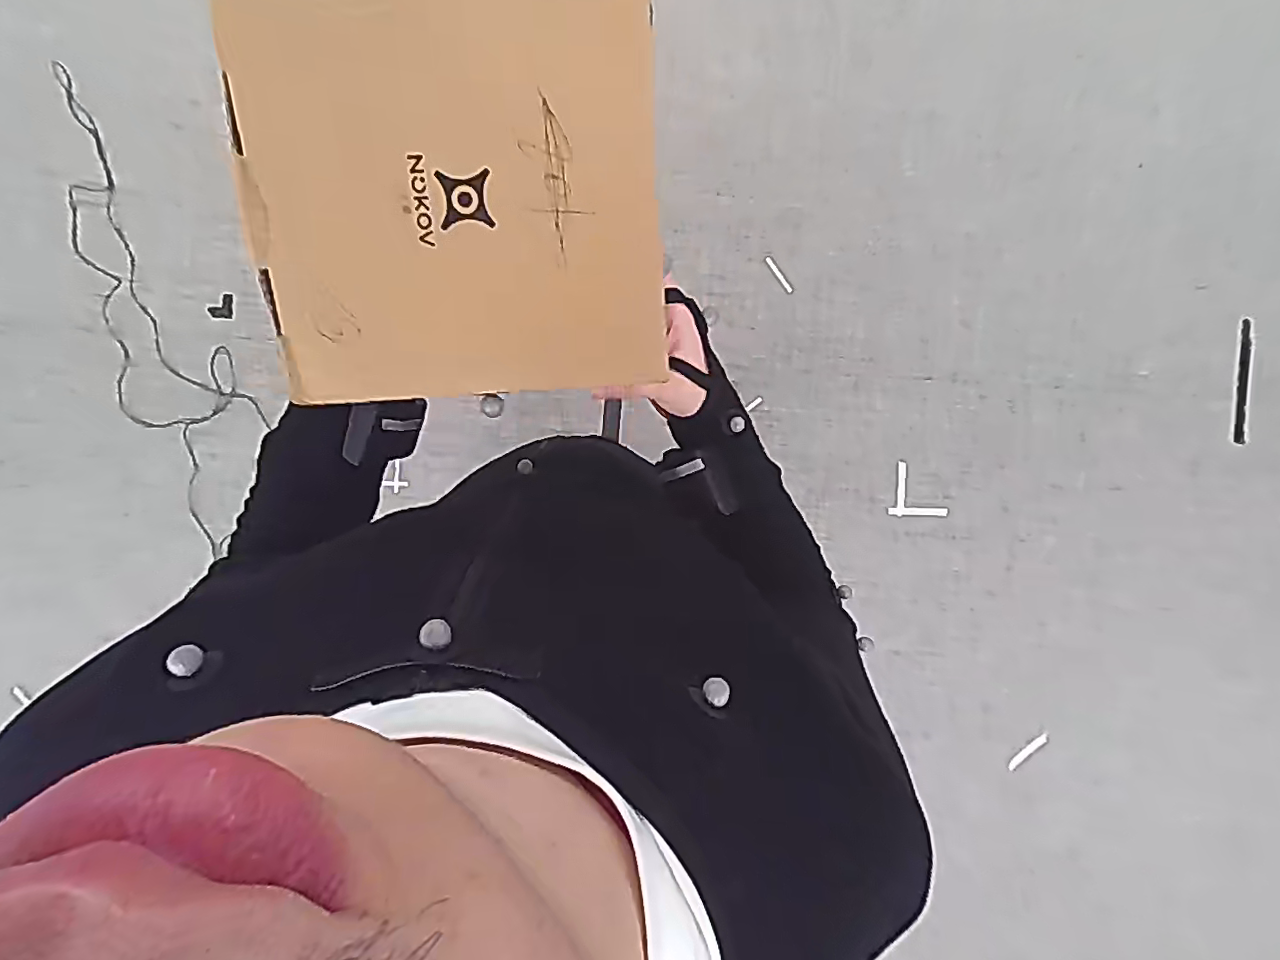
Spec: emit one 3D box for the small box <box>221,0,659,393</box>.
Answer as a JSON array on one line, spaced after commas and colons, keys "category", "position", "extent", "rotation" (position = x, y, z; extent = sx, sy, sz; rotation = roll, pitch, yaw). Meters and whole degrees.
[{"category": "small box", "position": [-0.086, -0.145, 0.322], "extent": [0.179, 0.176, 0.168], "rotation": [-6, 105, -3]}]
